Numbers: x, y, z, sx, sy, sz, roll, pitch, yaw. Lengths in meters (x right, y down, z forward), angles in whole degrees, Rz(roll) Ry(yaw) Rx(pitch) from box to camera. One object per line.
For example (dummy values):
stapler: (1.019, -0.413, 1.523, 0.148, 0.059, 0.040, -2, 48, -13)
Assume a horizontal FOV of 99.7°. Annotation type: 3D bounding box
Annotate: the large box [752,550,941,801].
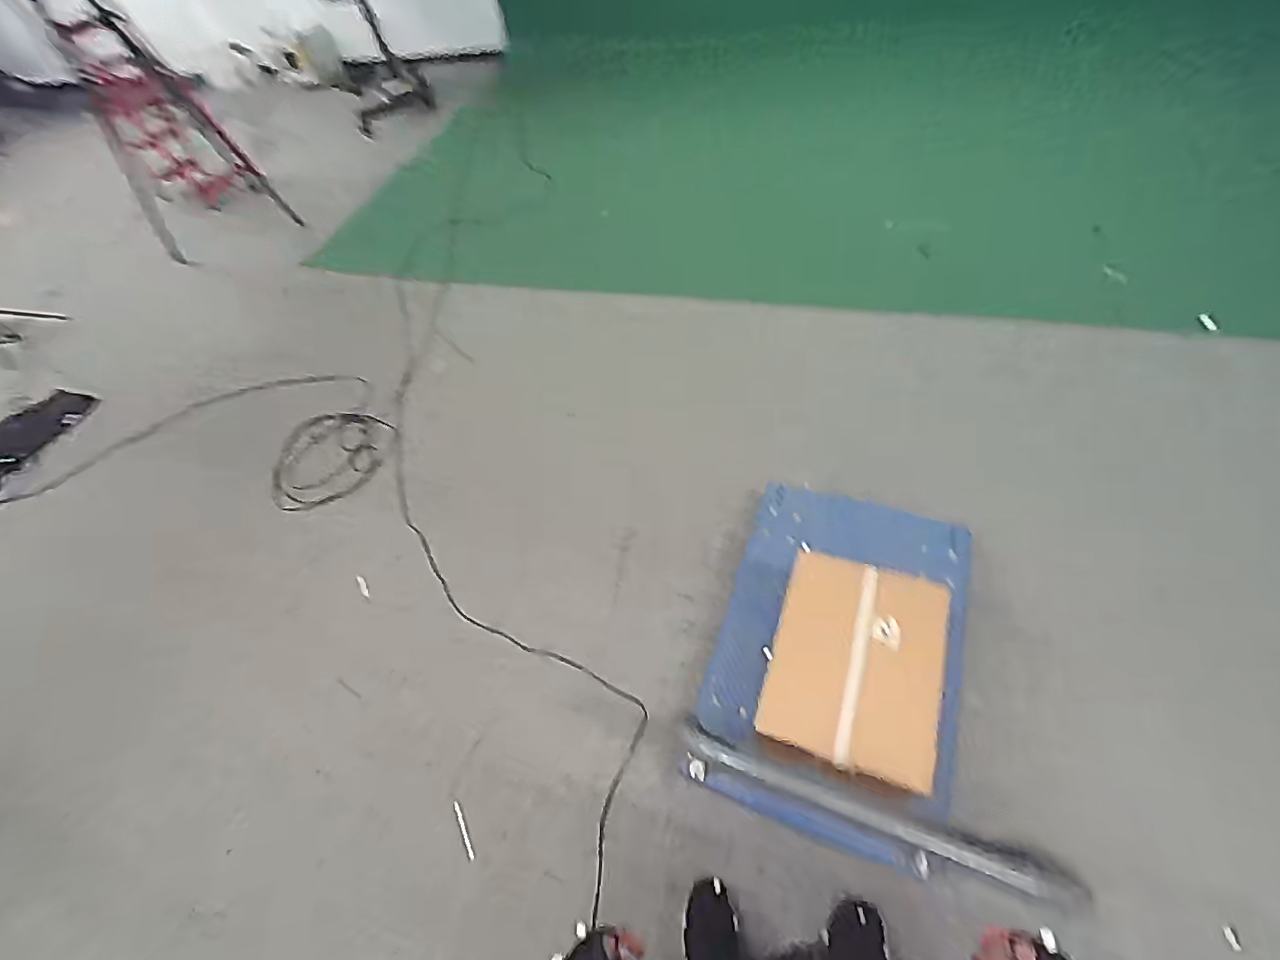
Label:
large box: (0.447, 0.432, 1.205, 0.320, 0.320, 0.408, 14, 58, 18)
